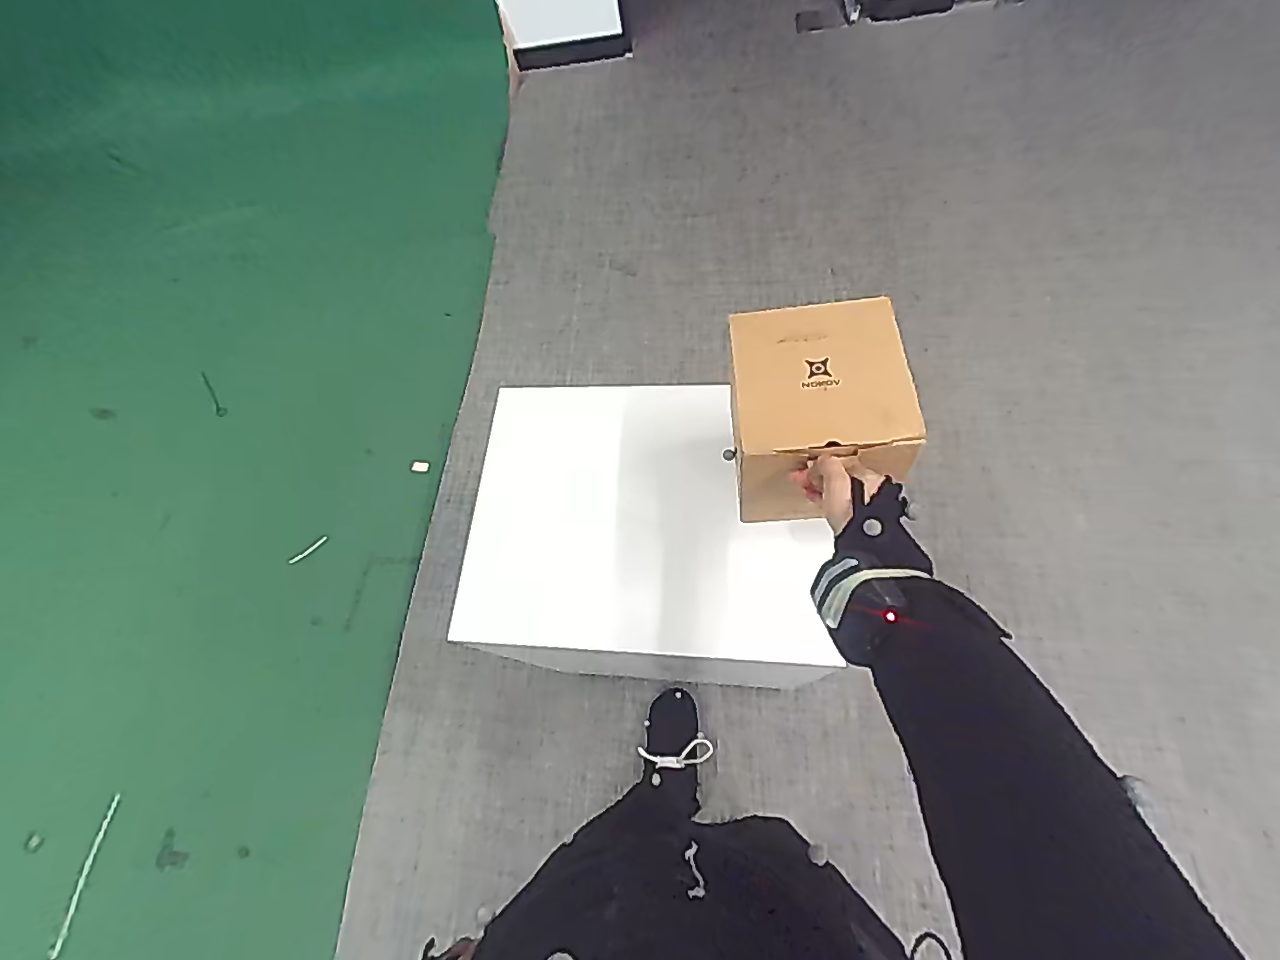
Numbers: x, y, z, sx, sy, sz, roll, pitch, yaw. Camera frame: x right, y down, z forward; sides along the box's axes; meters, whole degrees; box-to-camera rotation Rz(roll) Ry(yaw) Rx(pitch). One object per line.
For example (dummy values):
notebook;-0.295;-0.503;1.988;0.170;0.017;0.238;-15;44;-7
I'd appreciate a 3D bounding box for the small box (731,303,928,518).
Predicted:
small box;0.191;-0.065;0.600;0.168;0.176;0.179;-4;61;7
